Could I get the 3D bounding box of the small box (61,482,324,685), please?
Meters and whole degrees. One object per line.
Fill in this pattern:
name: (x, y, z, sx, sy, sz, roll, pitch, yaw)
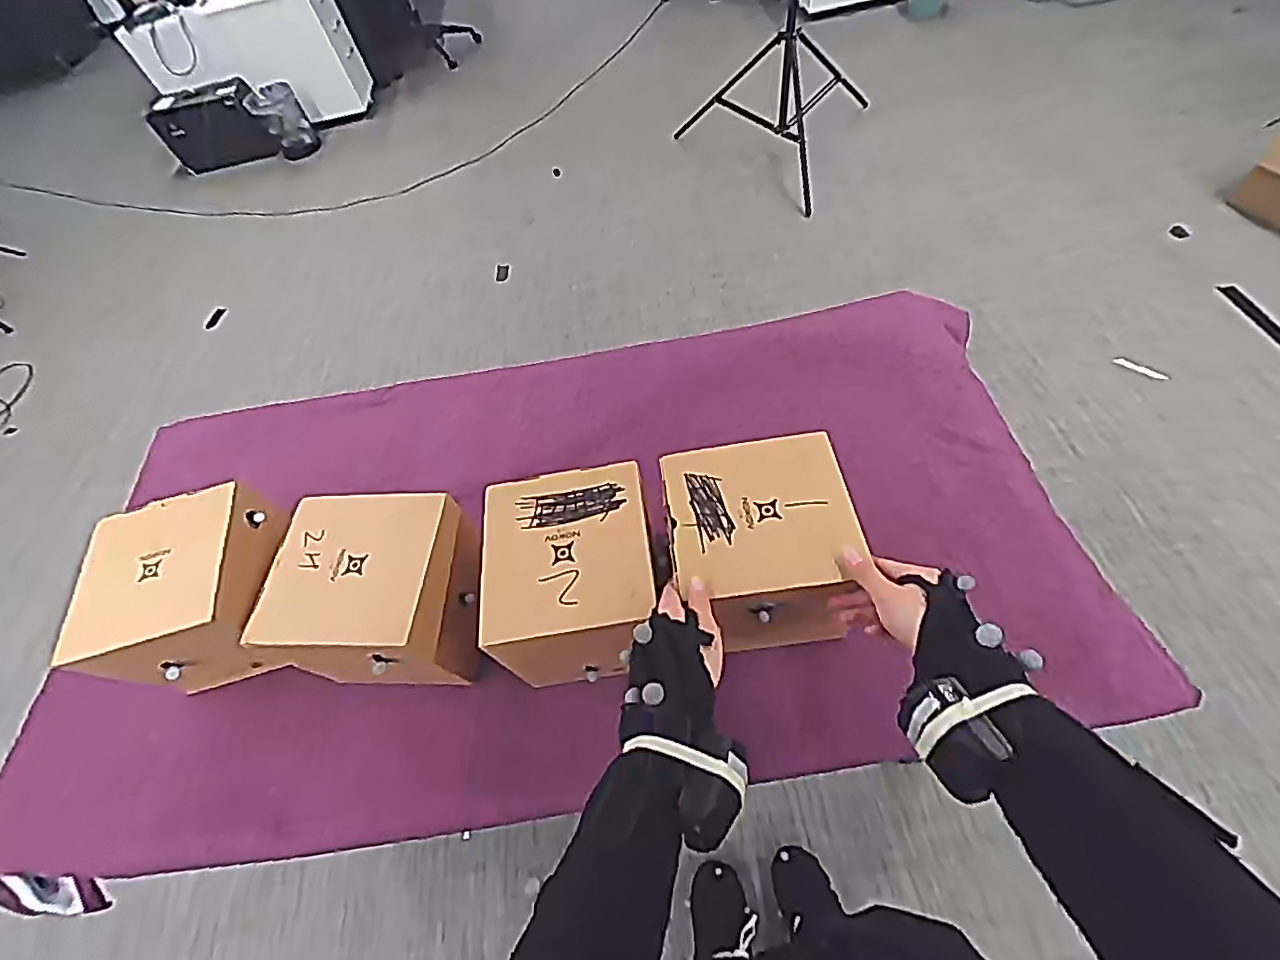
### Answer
small box: (-0.513, 0.135, 0.654, 0.168, 0.176, 0.179, -17, 58, -2)
